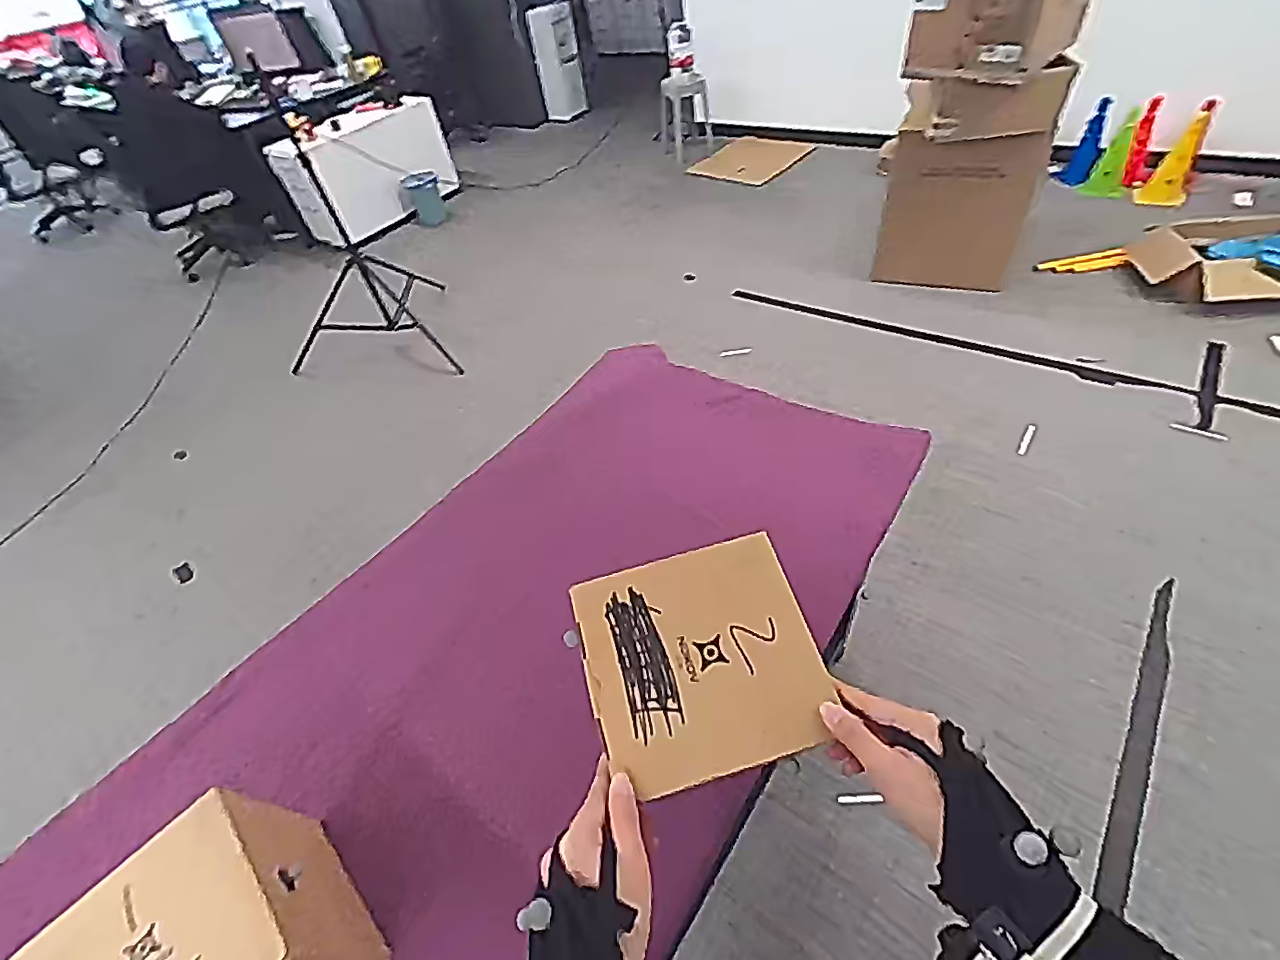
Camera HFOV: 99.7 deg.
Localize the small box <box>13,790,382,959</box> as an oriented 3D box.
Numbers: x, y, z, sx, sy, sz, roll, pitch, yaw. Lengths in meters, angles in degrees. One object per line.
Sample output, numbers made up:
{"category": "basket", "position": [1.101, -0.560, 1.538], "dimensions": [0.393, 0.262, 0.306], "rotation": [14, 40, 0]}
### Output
{"category": "small box", "position": [-0.366, 0.419, 0.473], "dimensions": [0.179, 0.176, 0.168], "rotation": [30, 59, 32]}
